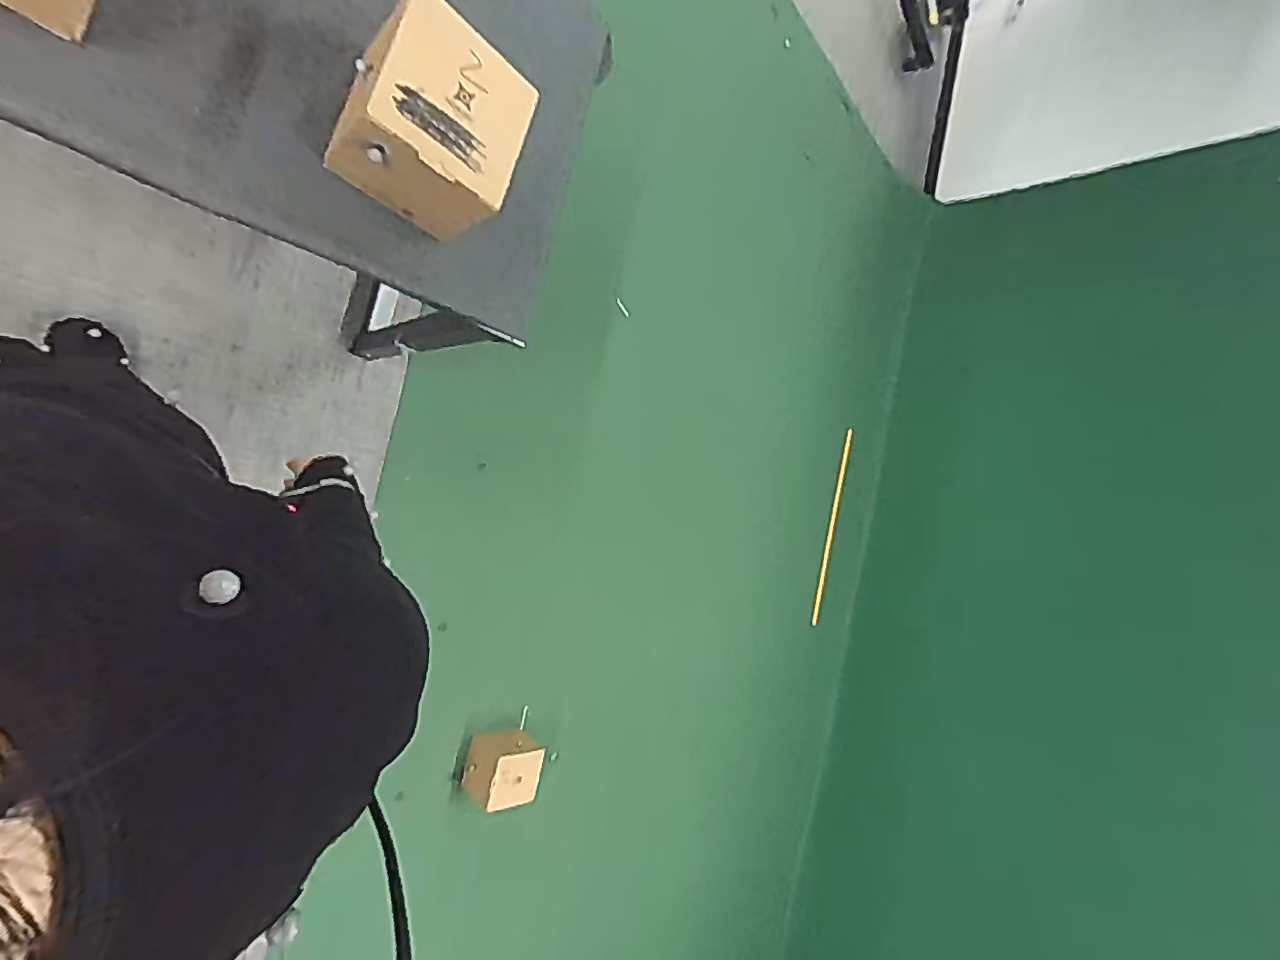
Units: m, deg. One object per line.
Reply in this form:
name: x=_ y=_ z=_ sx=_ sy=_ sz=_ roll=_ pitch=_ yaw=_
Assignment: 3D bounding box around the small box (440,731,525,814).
small box: x=-0.499 y=0.916 z=1.714 sx=0.179 sy=0.176 sz=0.168 roll=18 pitch=82 yaw=-47
